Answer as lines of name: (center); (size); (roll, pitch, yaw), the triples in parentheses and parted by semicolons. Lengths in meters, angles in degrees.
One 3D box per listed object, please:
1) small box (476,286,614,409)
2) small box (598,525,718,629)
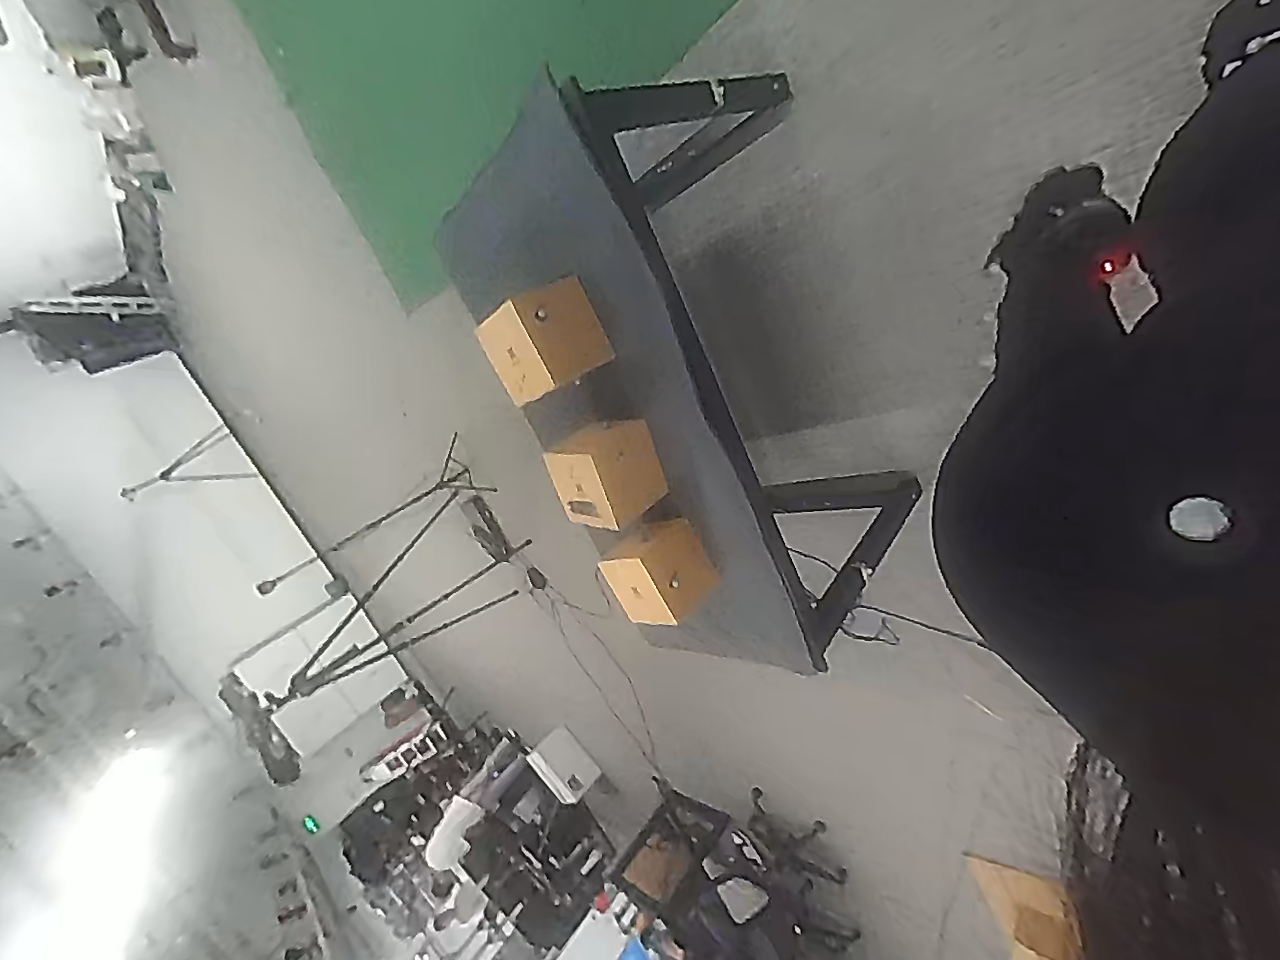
small box: (-0.186, -0.268, 1.076); (0.168, 0.176, 0.179); (-12, 110, 50)
small box: (0.043, 0.214, 1.222); (0.168, 0.176, 0.179); (-17, 106, 51)
